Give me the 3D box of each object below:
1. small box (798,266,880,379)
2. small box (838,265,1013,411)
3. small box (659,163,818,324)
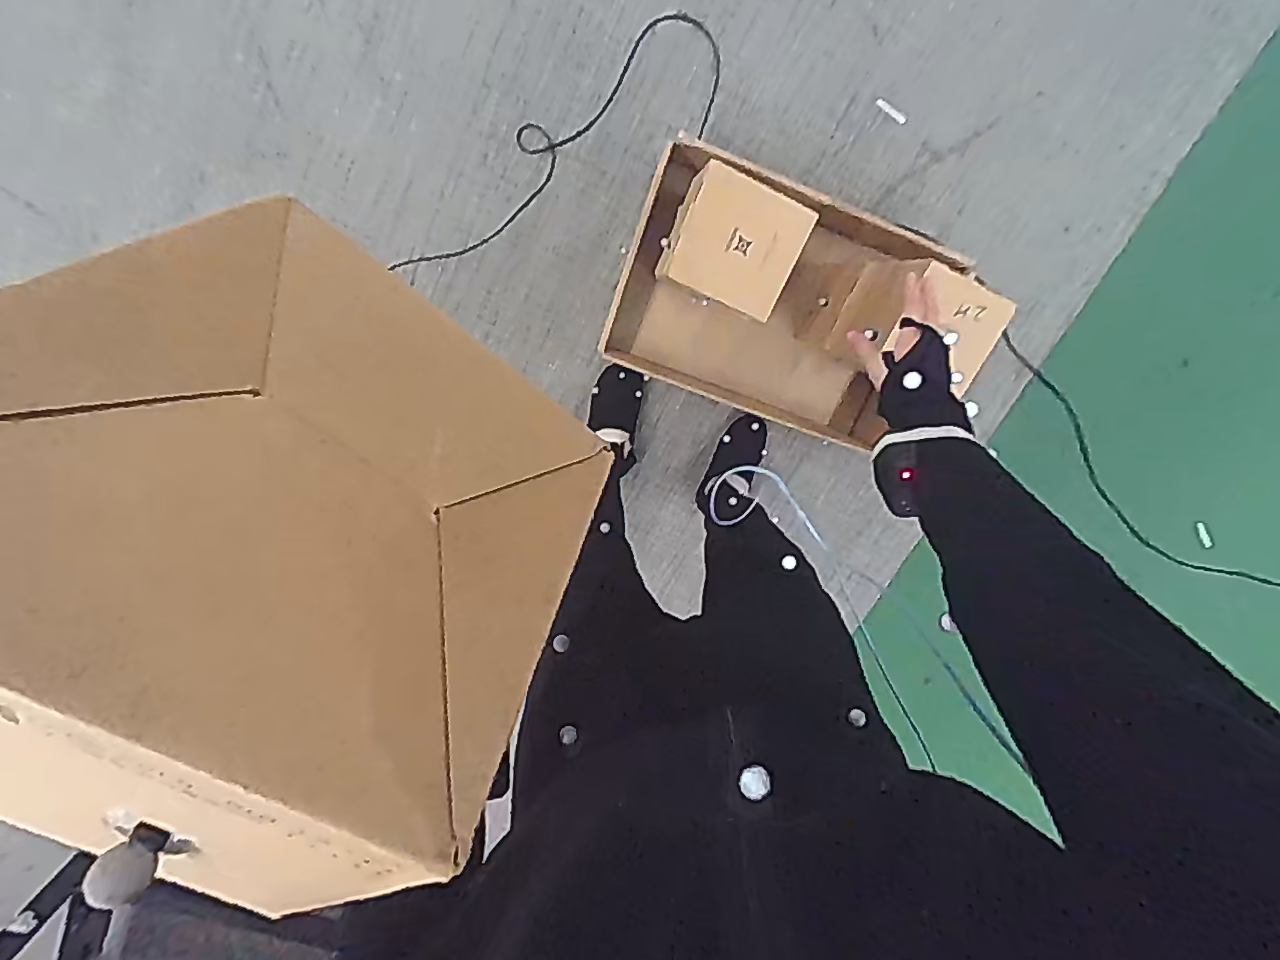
[{"bbox_3d":[0.443,-0.302,1.069,0.179,0.176,0.168,23,106,-10],"label":"small box"},{"bbox_3d":[0.464,-0.242,0.917,0.168,0.176,0.179,22,106,-11],"label":"small box"},{"bbox_3d":[0.142,-0.363,0.859,0.179,0.176,0.168,23,107,-11],"label":"small box"}]
